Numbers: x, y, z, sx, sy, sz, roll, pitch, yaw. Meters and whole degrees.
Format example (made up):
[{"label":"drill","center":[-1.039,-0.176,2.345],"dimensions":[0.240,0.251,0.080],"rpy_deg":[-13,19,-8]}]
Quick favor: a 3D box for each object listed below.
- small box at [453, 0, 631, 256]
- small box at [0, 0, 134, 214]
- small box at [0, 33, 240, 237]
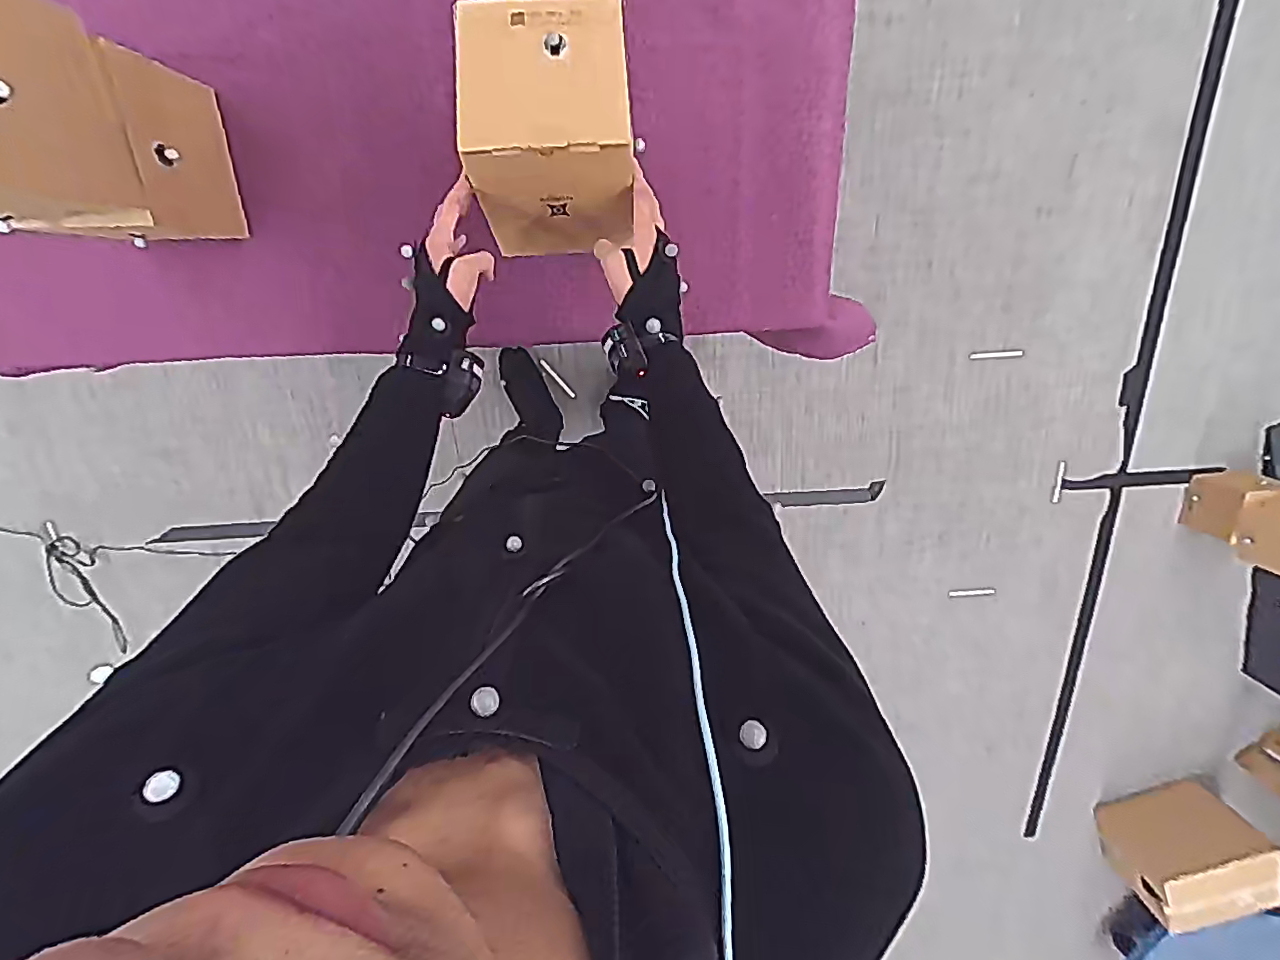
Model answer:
[{"label":"small box","center":[-0.095,-0.377,0.599],"dimensions":[0.168,0.179,0.176],"rpy_deg":[-4,78,0]},{"label":"small box","center":[-0.612,-0.338,0.473],"dimensions":[0.168,0.176,0.179],"rpy_deg":[-5,110,-1]},{"label":"small box","center":[-0.615,-0.384,0.631],"dimensions":[0.168,0.176,0.179],"rpy_deg":[-1,110,-3]}]
